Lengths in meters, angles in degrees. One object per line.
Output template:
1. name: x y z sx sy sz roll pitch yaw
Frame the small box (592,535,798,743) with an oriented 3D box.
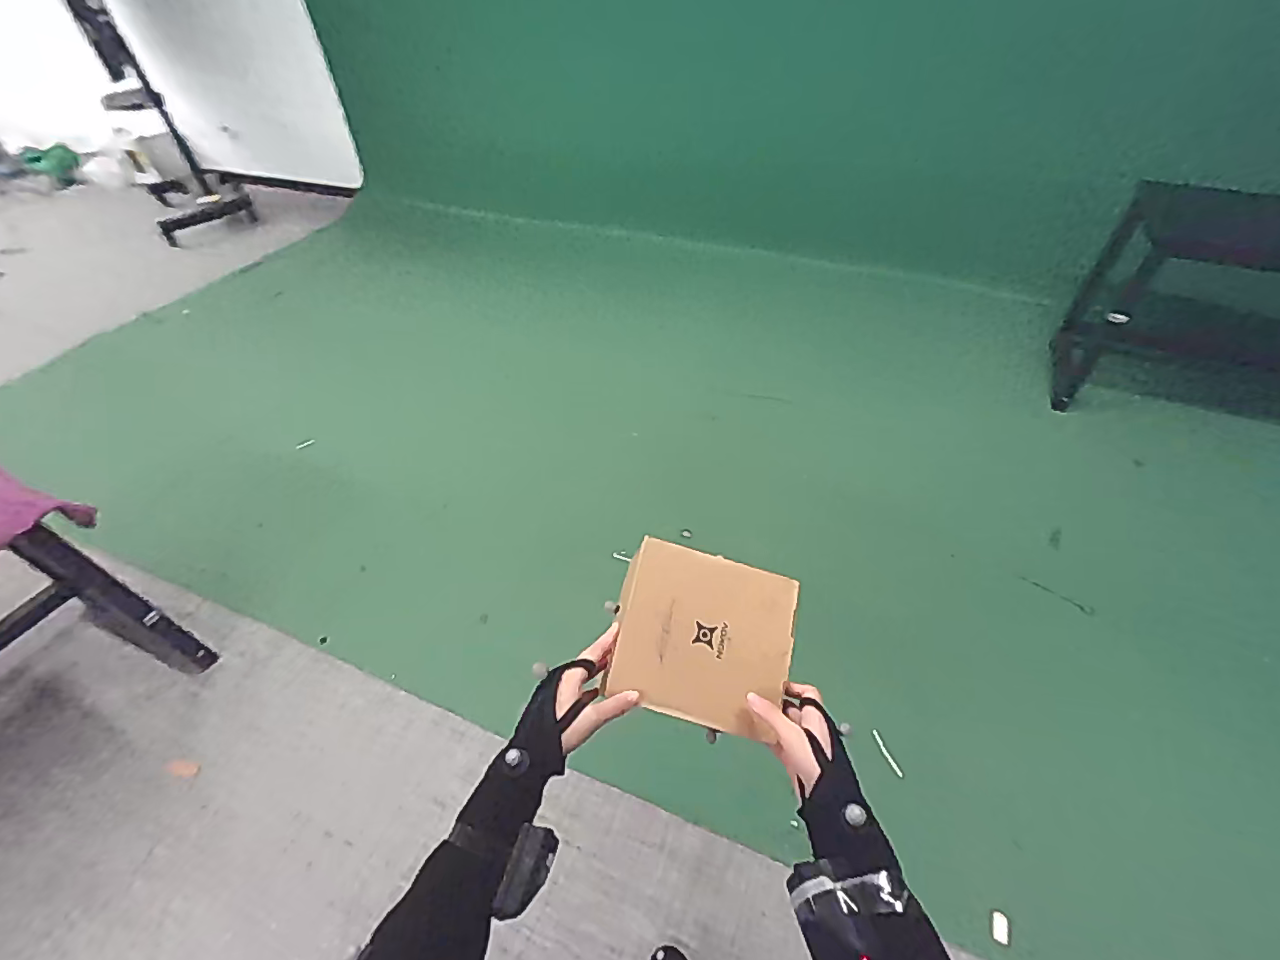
1. small box: 0.054 0.181 0.616 0.179 0.176 0.168 17 67 -2
